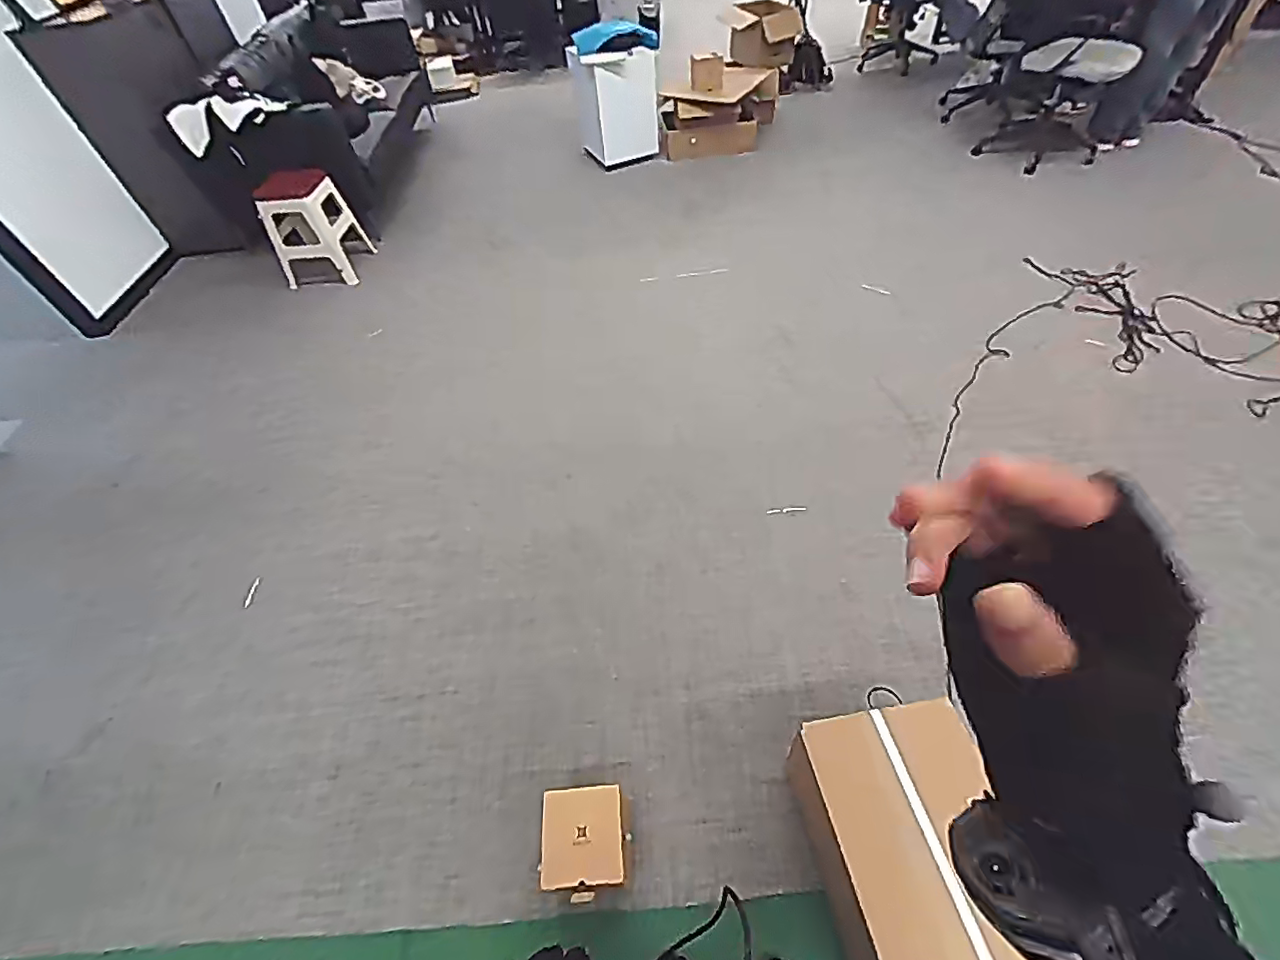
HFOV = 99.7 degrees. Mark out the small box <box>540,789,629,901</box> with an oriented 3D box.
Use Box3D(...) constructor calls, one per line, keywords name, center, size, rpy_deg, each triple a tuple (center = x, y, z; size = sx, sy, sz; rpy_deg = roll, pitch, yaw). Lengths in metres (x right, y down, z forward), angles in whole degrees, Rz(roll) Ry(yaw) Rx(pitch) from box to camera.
Box3D(name="small box", center=(-0.115, 0.792, 1.173), size=(0.168, 0.176, 0.179), rpy_deg=(-7, 50, 0))
